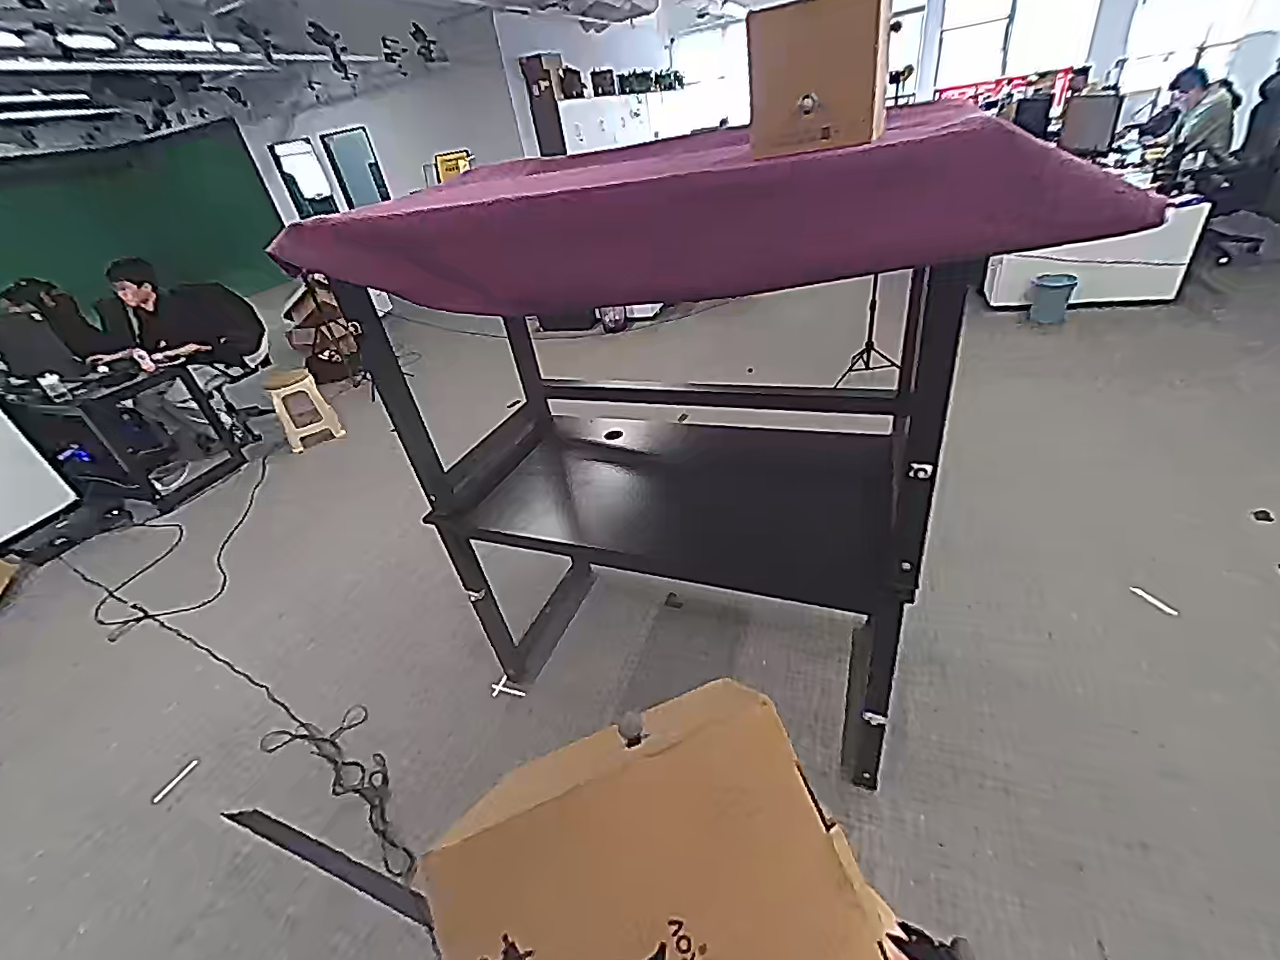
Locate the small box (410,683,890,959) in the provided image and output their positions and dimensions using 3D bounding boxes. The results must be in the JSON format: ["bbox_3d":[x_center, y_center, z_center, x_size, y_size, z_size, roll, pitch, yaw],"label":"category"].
[{"bbox_3d":[0.009,0.225,0.298,0.179,0.176,0.168,-22,73,-7],"label":"small box"}]

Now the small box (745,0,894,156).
[{"bbox_3d":[0.252,-0.565,0.758,0.168,0.176,0.179,7,36,26],"label":"small box"}]
